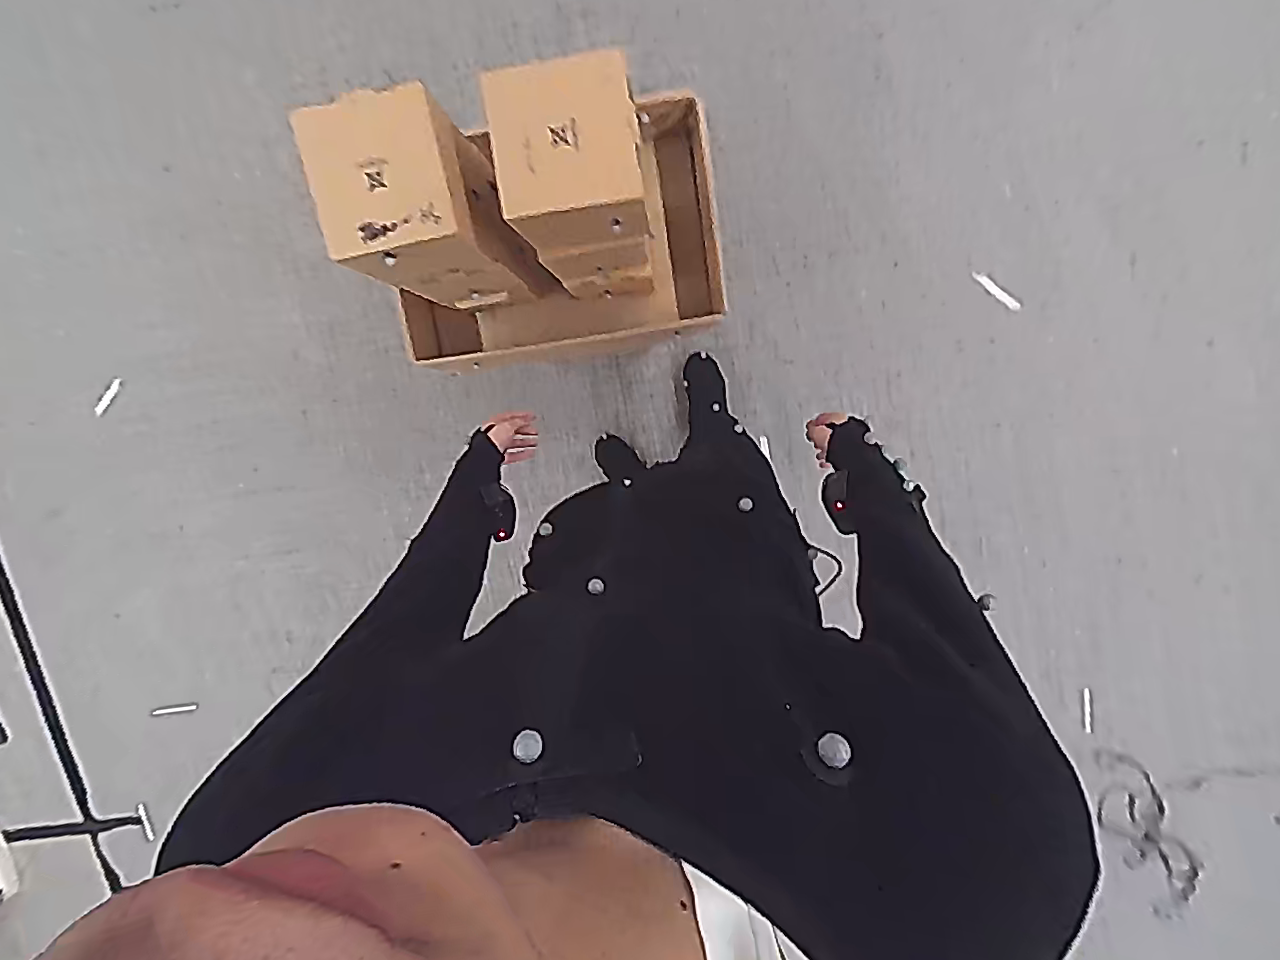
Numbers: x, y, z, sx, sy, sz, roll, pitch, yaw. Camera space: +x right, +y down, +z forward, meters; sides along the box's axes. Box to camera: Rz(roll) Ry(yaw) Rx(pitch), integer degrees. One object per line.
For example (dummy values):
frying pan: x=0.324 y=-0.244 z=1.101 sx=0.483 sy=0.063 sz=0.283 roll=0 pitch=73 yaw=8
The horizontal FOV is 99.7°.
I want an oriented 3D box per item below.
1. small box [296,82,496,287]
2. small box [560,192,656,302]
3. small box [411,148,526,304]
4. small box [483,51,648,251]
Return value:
small box: x=-0.311 y=-0.378 z=0.726 sx=0.168 sy=0.176 sz=0.179 roll=-10 pitch=97 yaw=5
small box: x=-0.060 y=-0.454 z=1.040 sx=0.168 sy=0.176 sz=0.179 roll=-5 pitch=99 yaw=6
small box: x=-0.299 y=-0.405 z=0.889 sx=0.168 sy=0.176 sz=0.179 roll=-10 pitch=99 yaw=3
small box: x=-0.084 y=-0.417 z=0.716 sx=0.179 sy=0.176 sz=0.168 roll=-6 pitch=99 yaw=6
